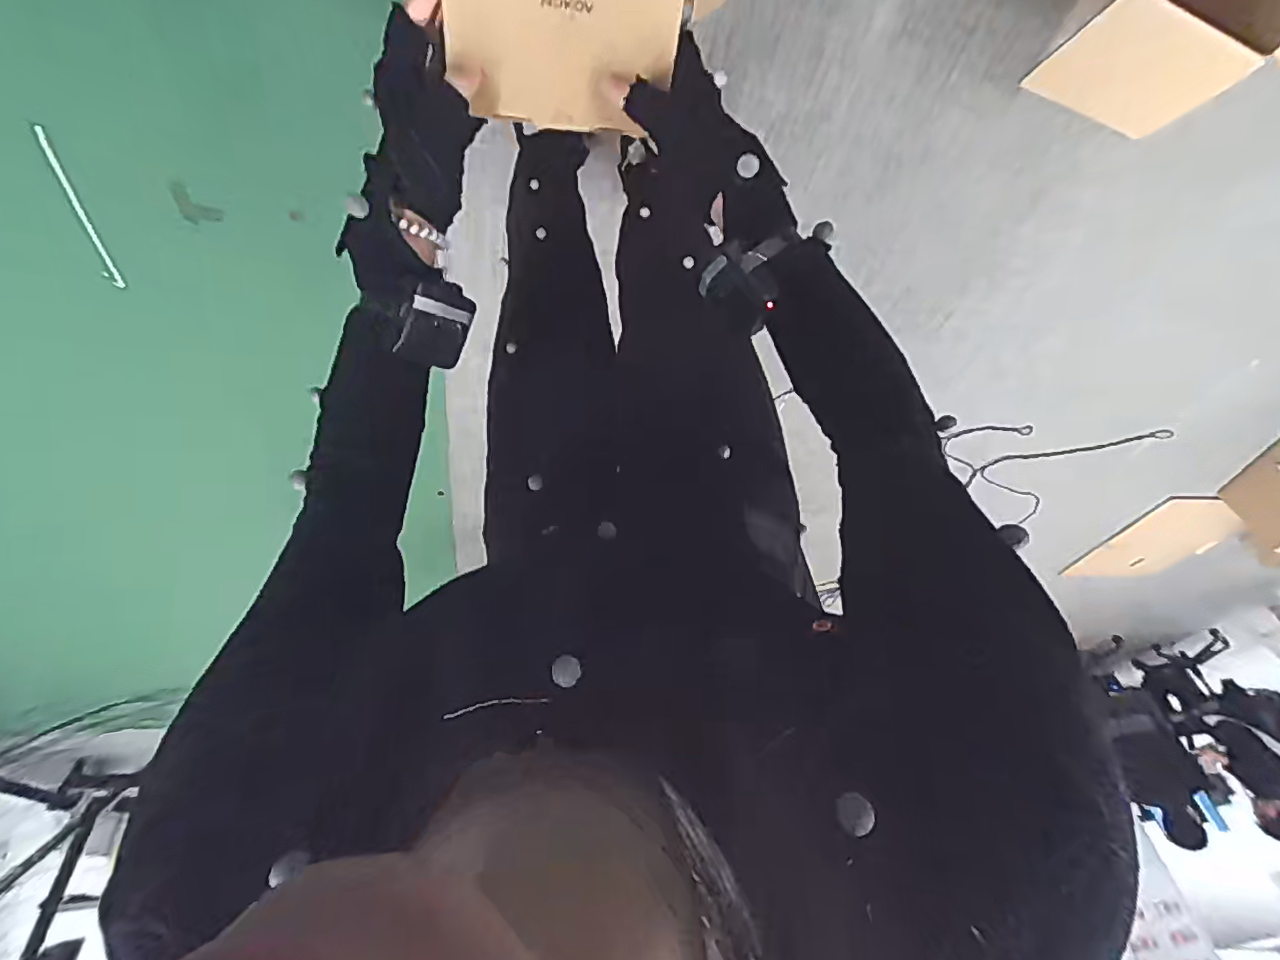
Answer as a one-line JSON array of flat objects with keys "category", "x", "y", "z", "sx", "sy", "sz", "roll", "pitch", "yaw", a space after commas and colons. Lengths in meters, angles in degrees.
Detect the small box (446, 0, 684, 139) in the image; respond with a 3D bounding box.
[{"category": "small box", "x": -0.065, "y": -0.396, "z": 0.418, "sx": 0.168, "sy": 0.176, "sz": 0.179, "roll": -3, "pitch": 138, "yaw": -15}]
